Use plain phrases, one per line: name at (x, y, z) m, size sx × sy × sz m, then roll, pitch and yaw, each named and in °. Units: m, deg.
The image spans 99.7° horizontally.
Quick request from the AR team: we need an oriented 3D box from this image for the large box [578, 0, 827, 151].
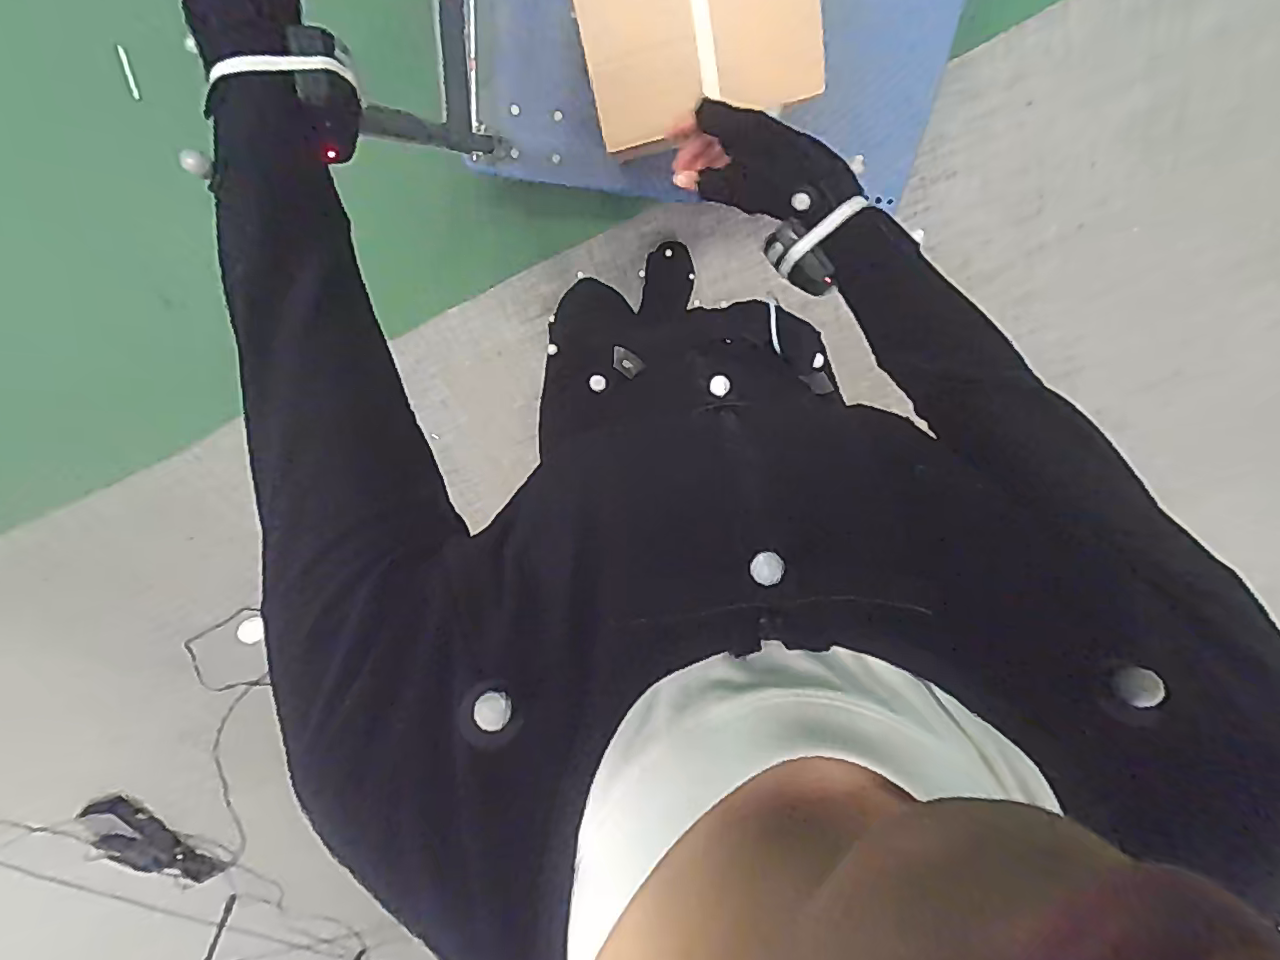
large box at (0.066, -0.755, 0.794) m, size 0.320 × 0.320 × 0.408 m, roll -10°, pitch 118°, yaw 6°
